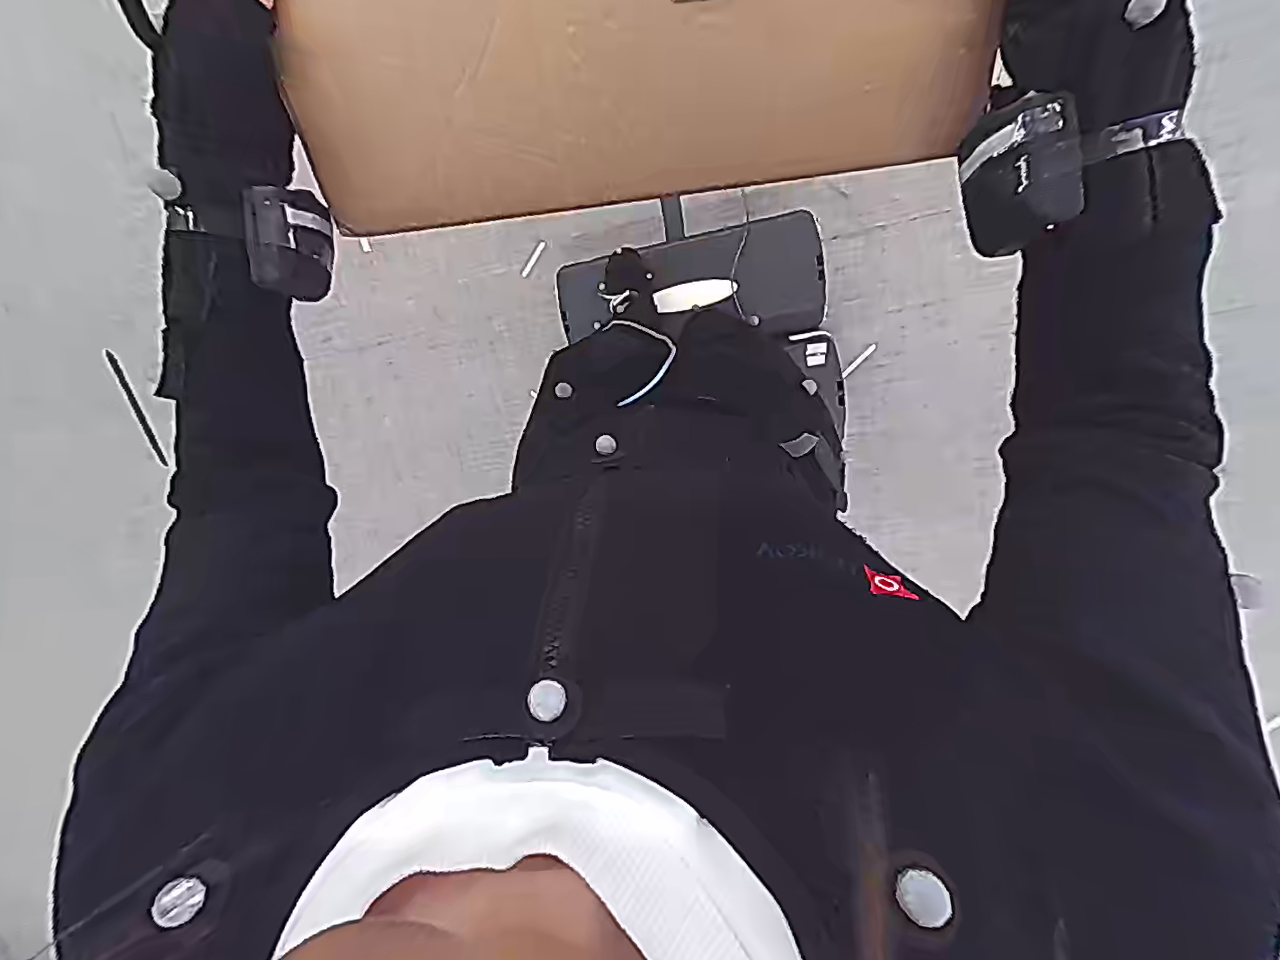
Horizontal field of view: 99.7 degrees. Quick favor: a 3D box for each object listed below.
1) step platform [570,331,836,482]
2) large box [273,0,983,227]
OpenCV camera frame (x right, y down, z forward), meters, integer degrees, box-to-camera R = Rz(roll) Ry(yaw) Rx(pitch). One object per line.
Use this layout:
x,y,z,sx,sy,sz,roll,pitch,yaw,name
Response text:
0.161,-0.189,1.443,0.684,0.204,0.286,-9,107,13,step platform
-0.010,-0.400,0.397,0.408,0.320,0.320,-3,123,10,large box
